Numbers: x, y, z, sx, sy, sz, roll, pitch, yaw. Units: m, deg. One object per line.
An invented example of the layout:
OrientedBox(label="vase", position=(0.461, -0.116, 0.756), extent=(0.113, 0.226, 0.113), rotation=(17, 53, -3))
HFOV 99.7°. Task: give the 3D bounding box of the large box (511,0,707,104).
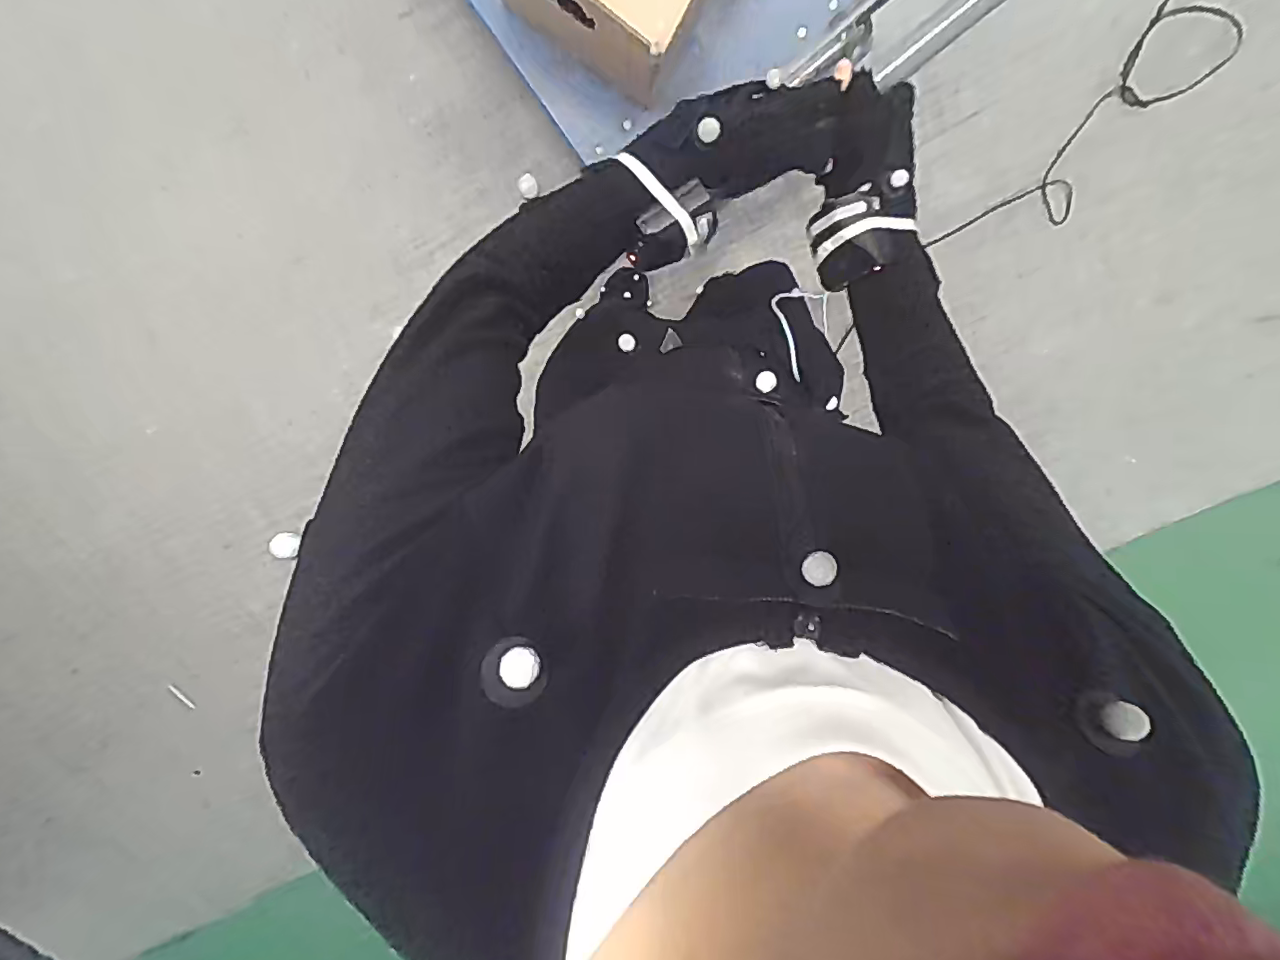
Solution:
OrientedBox(label="large box", position=(0.005, -0.890, 0.812), extent=(0.320, 0.320, 0.408), rotation=(28, 109, -13))
